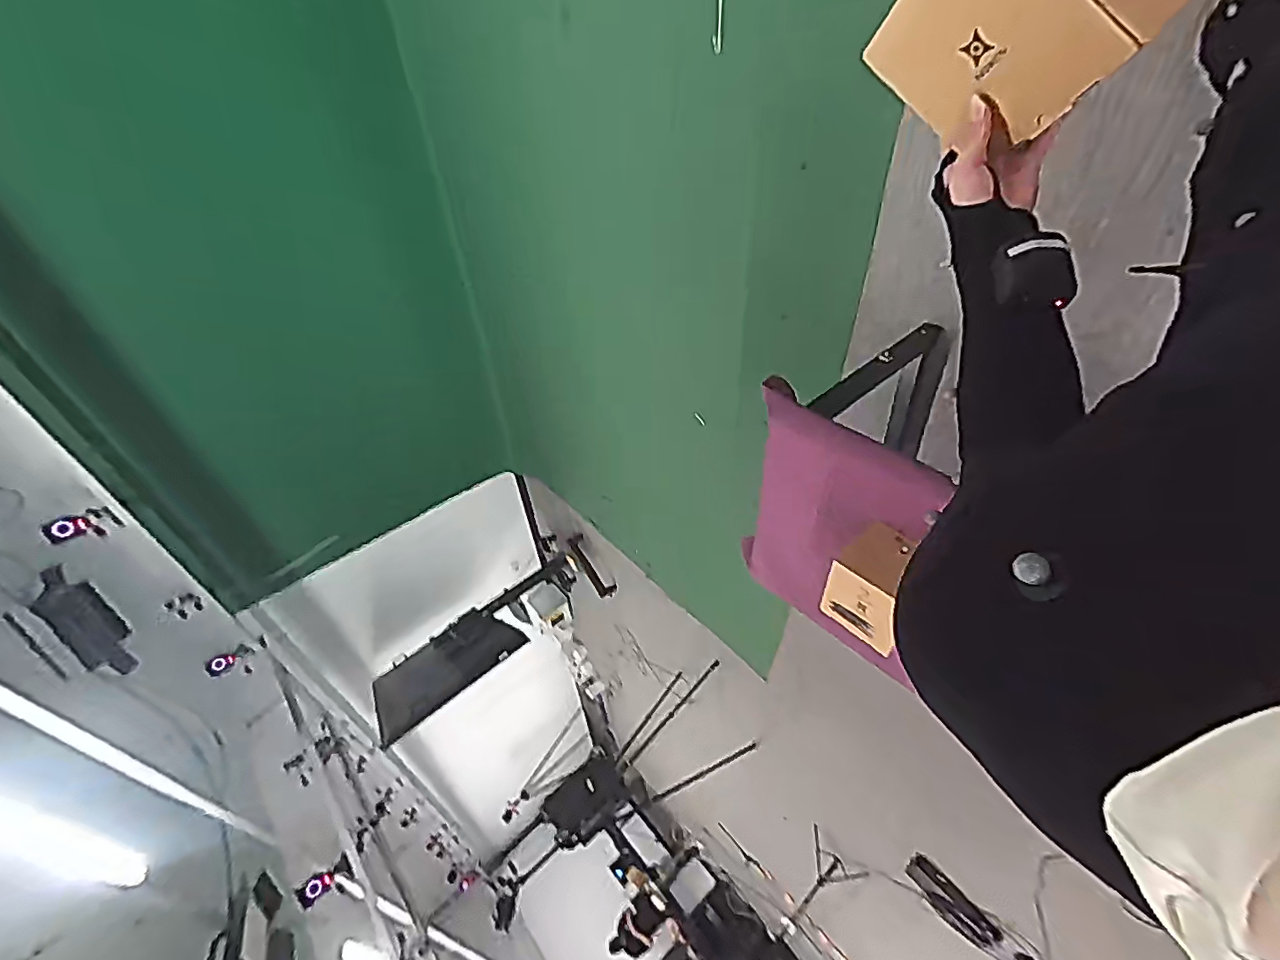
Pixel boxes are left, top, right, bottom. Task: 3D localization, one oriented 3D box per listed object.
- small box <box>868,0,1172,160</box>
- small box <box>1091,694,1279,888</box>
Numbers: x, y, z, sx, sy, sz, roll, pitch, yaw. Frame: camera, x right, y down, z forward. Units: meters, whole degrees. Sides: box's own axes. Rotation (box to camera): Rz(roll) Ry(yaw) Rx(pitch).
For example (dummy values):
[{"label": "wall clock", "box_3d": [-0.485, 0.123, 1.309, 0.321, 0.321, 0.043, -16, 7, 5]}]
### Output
[{"label": "small box", "box_3d": [0.352, -0.445, 0.475, 0.179, 0.176, 0.168, 42, 177, -4]}, {"label": "small box", "box_3d": [0.866, 0.477, 0.843, 0.168, 0.176, 0.179, 35, 145, 37]}]
